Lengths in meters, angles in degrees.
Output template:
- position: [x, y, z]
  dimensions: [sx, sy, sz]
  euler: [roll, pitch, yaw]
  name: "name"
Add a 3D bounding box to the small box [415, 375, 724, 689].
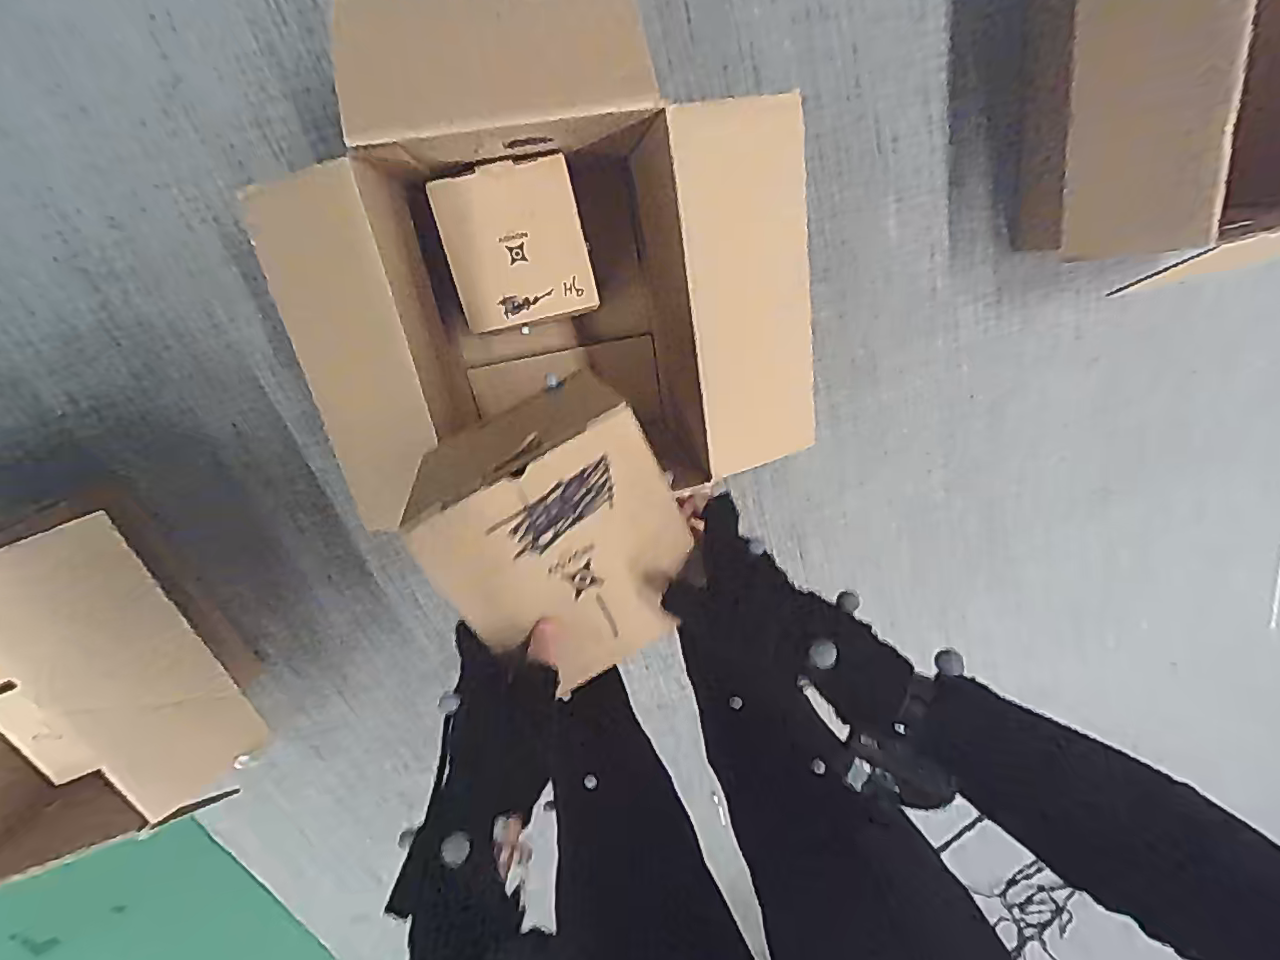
- position: [-0.061, 0.025, 0.452]
  dimensions: [0.168, 0.176, 0.179]
  euler: [-29, 115, -5]
  name: "small box"
